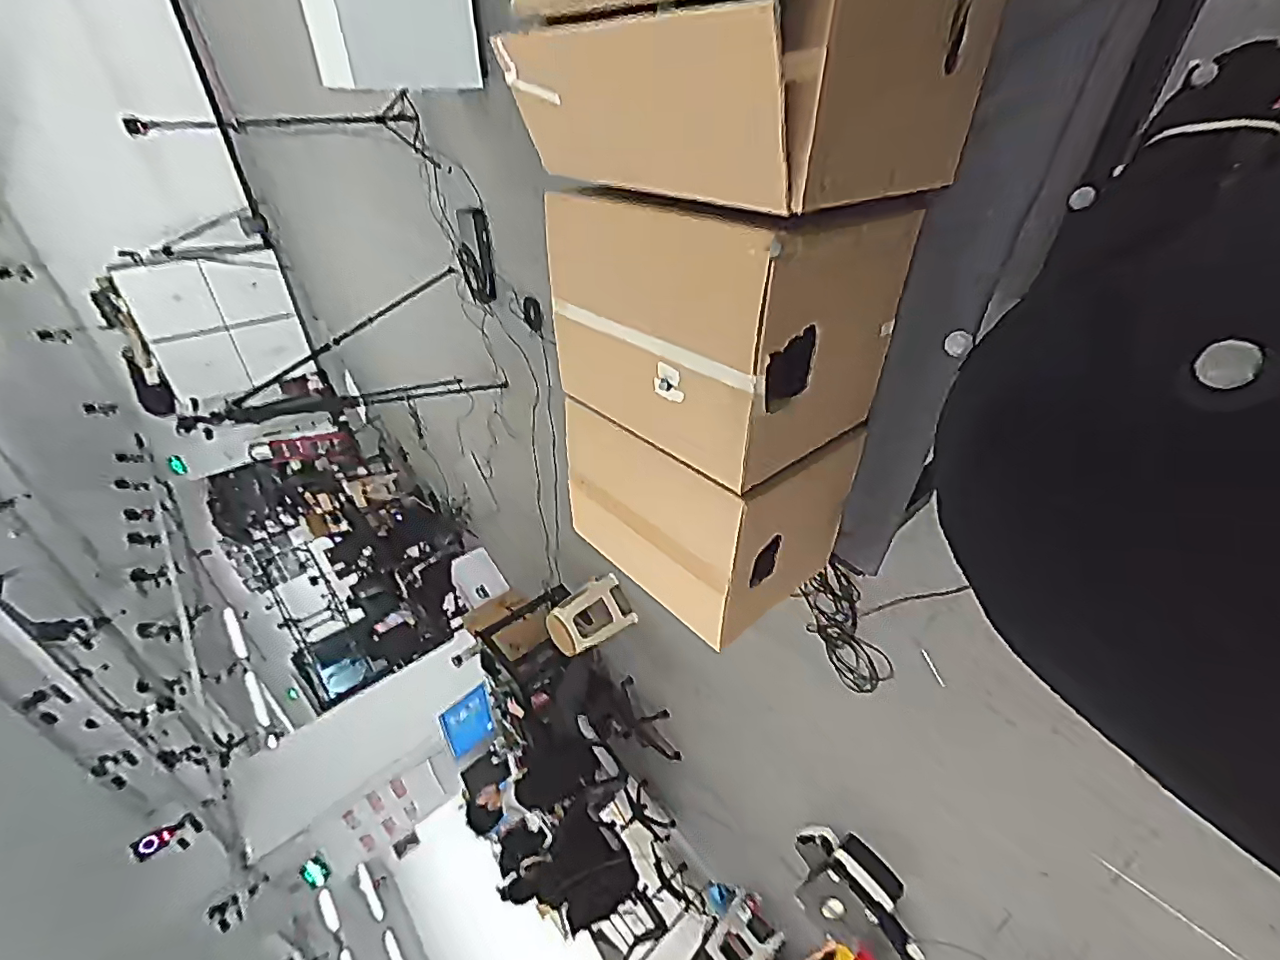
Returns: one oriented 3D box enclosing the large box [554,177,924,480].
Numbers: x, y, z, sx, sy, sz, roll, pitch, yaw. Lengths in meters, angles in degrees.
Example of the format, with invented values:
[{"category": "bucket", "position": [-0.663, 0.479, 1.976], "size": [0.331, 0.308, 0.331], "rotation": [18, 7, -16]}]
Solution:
[{"category": "large box", "position": [0.120, -0.260, 0.805], "size": [0.408, 0.320, 0.320], "rotation": [33, 137, 38]}]
